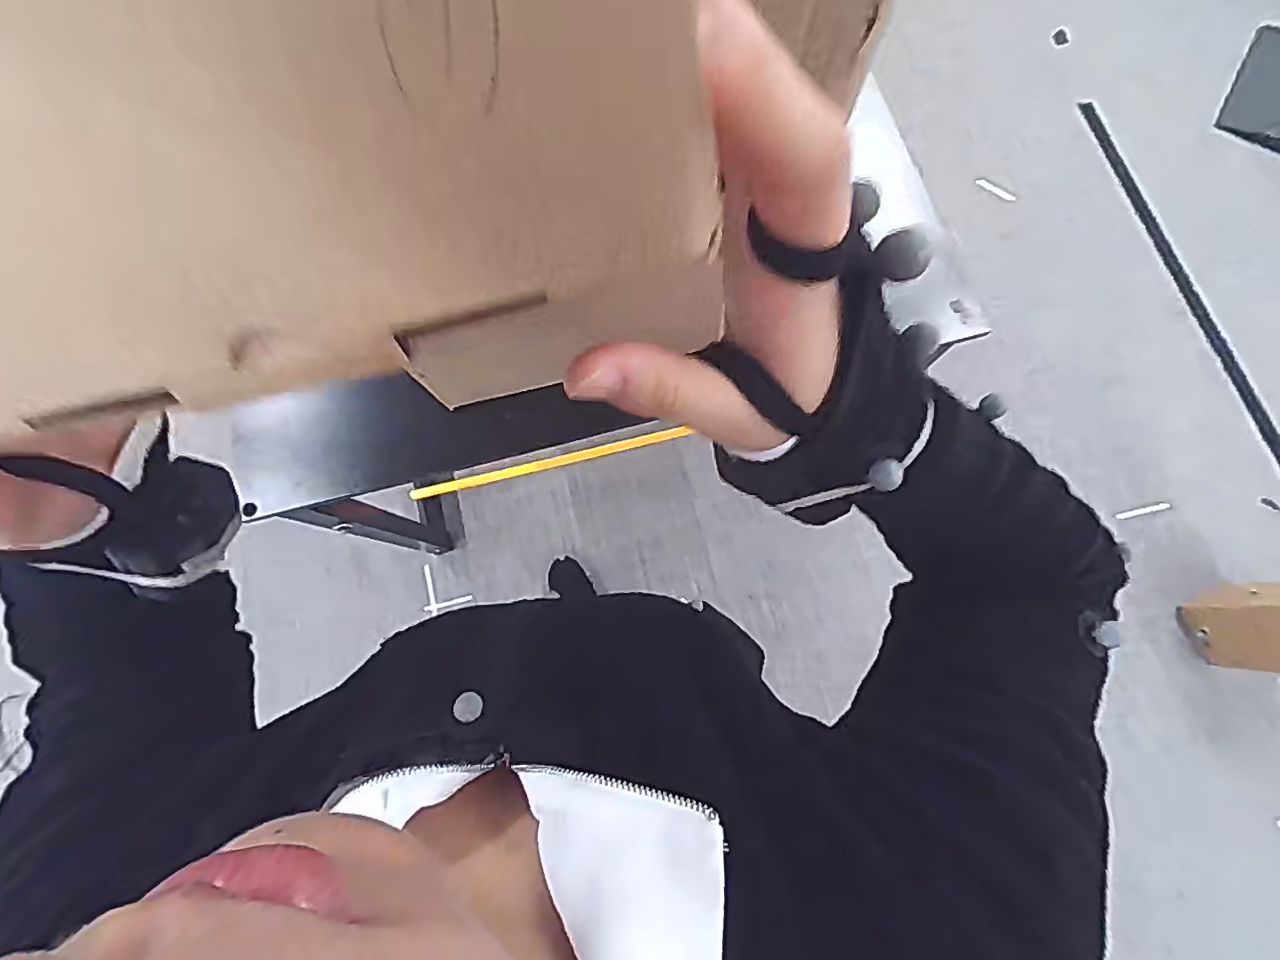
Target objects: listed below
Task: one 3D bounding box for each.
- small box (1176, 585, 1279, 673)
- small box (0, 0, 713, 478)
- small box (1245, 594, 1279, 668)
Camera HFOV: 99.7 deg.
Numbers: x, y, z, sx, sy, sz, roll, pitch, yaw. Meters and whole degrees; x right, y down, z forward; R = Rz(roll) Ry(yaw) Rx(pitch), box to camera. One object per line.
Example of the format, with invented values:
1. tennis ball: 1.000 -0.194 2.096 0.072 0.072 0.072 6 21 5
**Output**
1. small box: 1.533 0.366 1.357 0.179 0.176 0.168 -21 76 -2
2. small box: -0.086 -0.128 0.117 0.168 0.179 0.176 -12 34 5
3. small box: 1.532 0.332 1.196 0.168 0.176 0.179 -19 77 -2
